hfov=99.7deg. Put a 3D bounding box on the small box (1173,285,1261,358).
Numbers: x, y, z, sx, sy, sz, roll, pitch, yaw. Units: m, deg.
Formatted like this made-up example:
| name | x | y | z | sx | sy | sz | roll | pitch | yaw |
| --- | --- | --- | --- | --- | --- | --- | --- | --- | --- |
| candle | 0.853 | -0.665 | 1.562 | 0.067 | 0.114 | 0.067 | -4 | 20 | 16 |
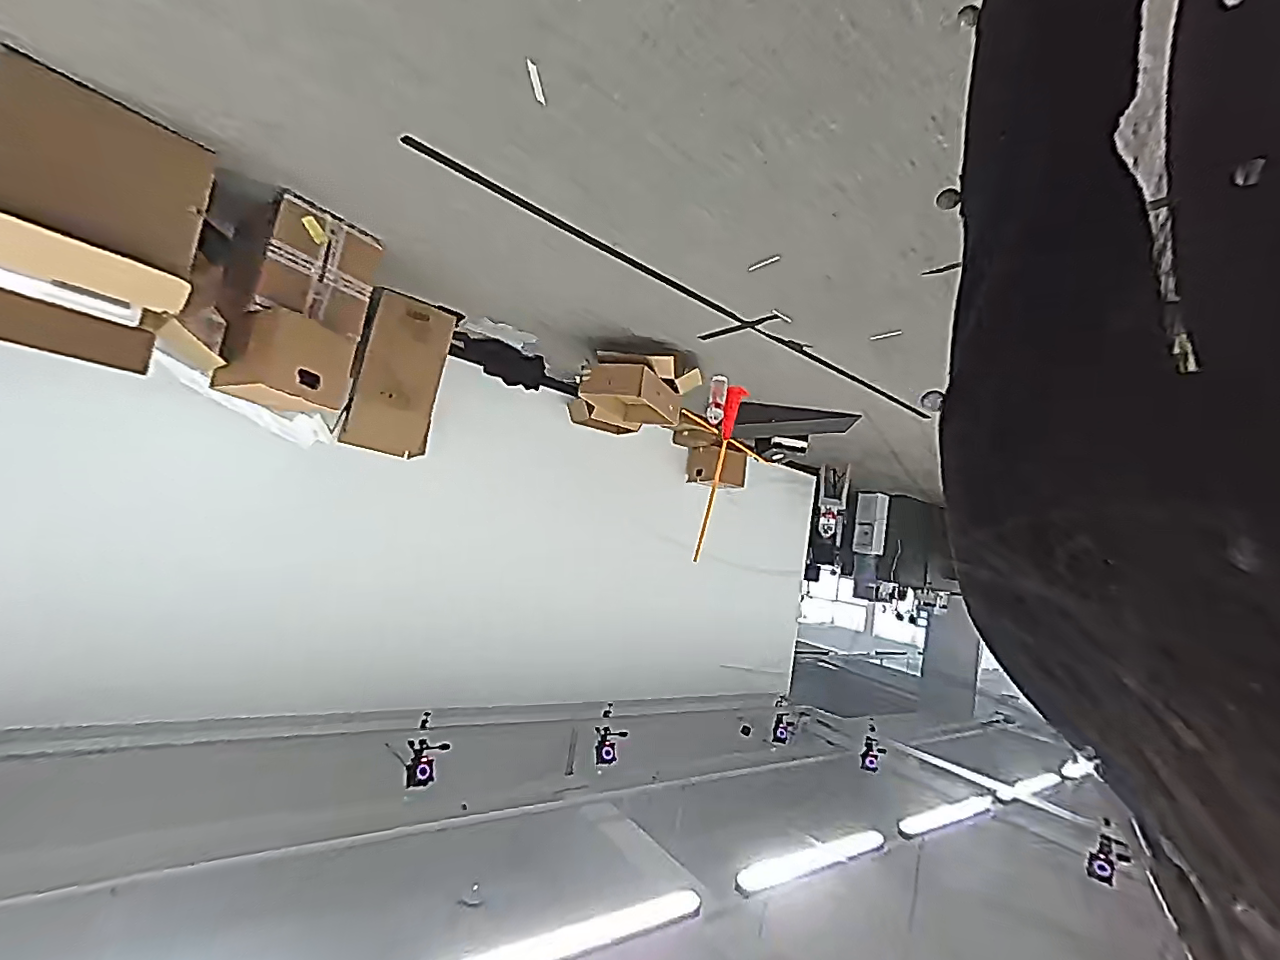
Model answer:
| name | x | y | z | sx | sy | sz | roll | pitch | yaw |
| --- | --- | --- | --- | --- | --- | --- | --- | --- | --- |
| small box | 1.905 | -0.523 | 1.791 | 0.179 | 0.176 | 0.168 | 3 | 170 | 37 |
